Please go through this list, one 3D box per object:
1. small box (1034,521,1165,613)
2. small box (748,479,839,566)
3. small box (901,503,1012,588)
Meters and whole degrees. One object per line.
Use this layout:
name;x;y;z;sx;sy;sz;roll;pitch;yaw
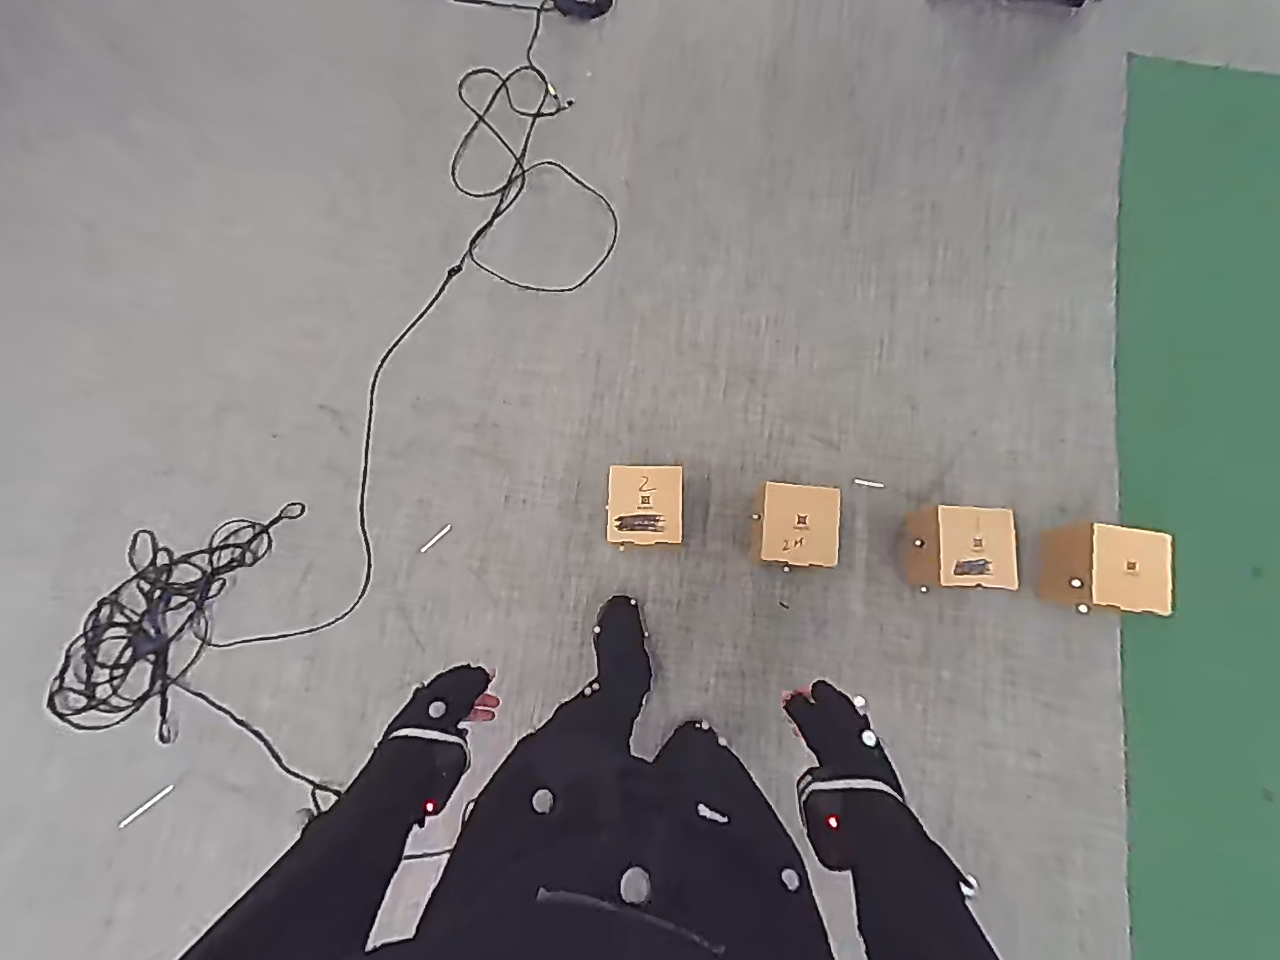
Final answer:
small box;1.045;0.199;1.243;0.168;0.176;0.179;9;80;3
small box;0.353;0.104;1.266;0.168;0.176;0.179;6;81;3
small box;0.725;0.155;1.254;0.168;0.176;0.179;4;79;1
